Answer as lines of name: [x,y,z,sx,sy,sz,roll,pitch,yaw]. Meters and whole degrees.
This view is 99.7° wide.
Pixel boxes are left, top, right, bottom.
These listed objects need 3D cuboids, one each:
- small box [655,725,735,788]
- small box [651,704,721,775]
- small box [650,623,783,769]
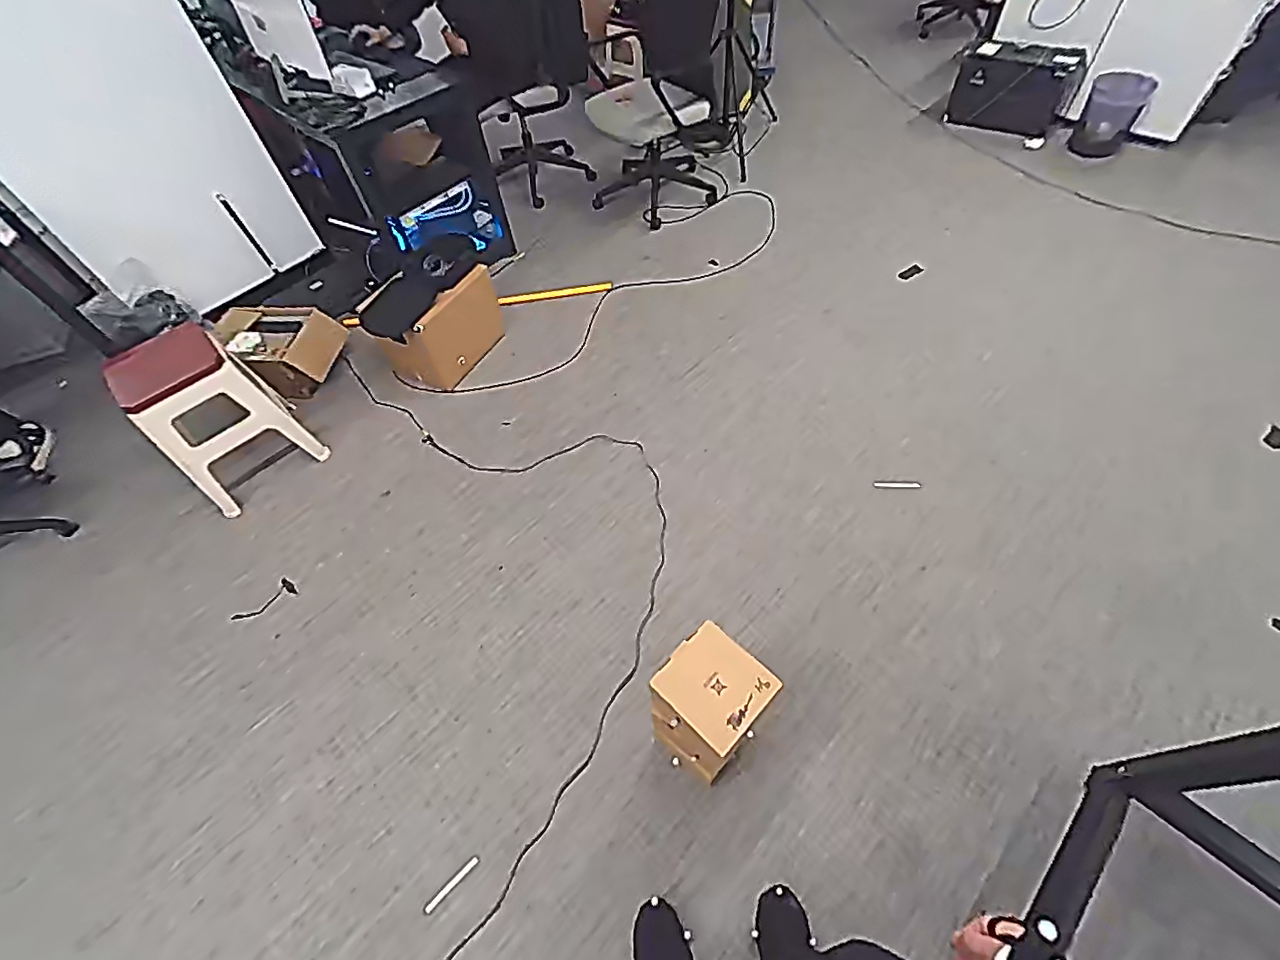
small box: [0.154,0.596,1.284,0.168,0.176,0.179,34,65,26]
small box: [0.144,0.497,1.157,0.168,0.176,0.179,31,61,23]
small box: [0.139,0.410,1.016,0.168,0.176,0.179,-40,60,-21]
